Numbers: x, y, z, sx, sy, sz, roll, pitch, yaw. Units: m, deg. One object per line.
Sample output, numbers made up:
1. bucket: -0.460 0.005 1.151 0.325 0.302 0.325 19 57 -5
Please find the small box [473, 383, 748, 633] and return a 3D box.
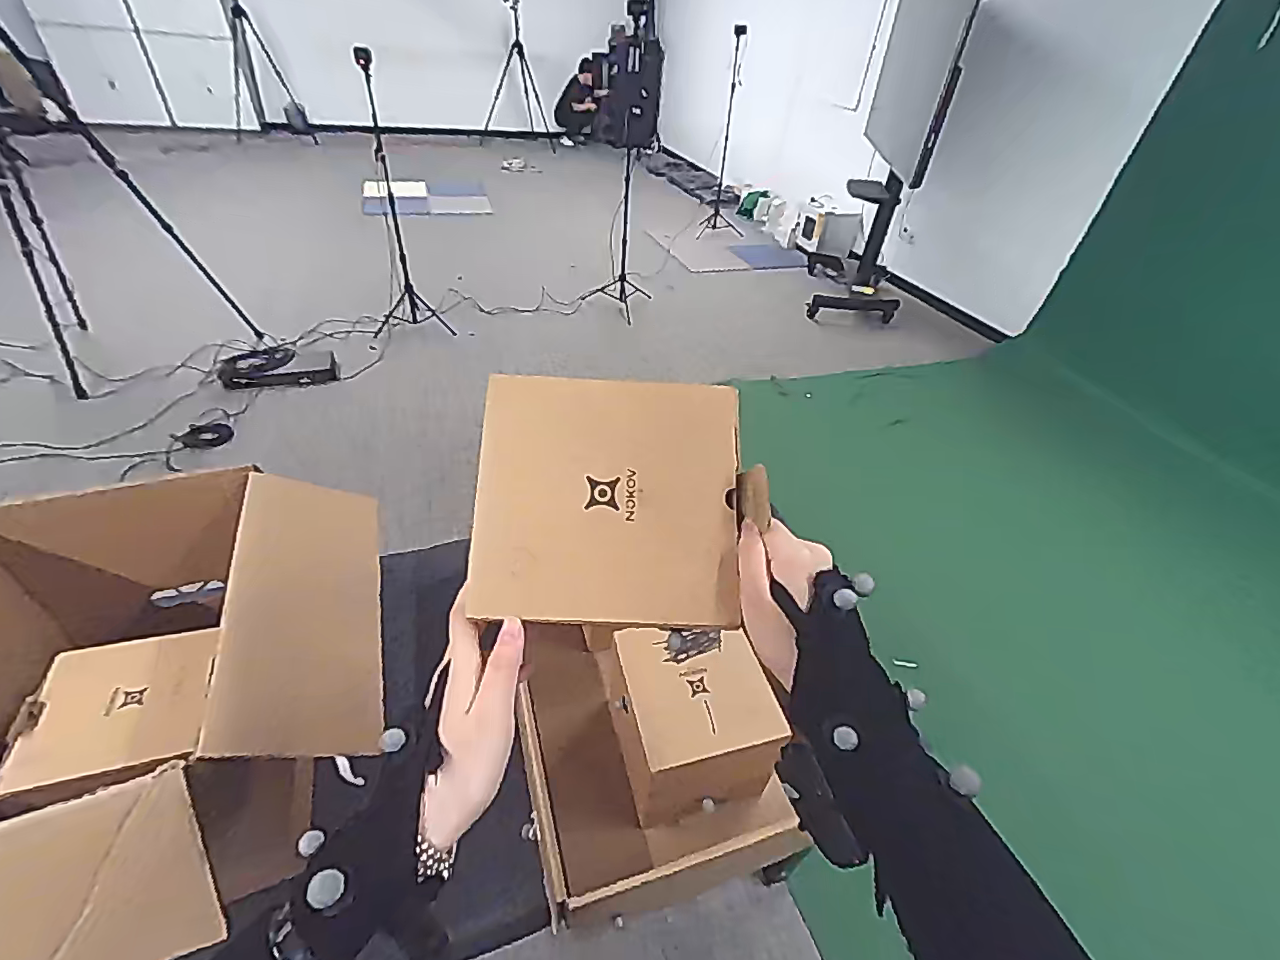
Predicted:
1. small box: -0.019 0.035 0.437 0.179 0.176 0.168 2 74 -3
